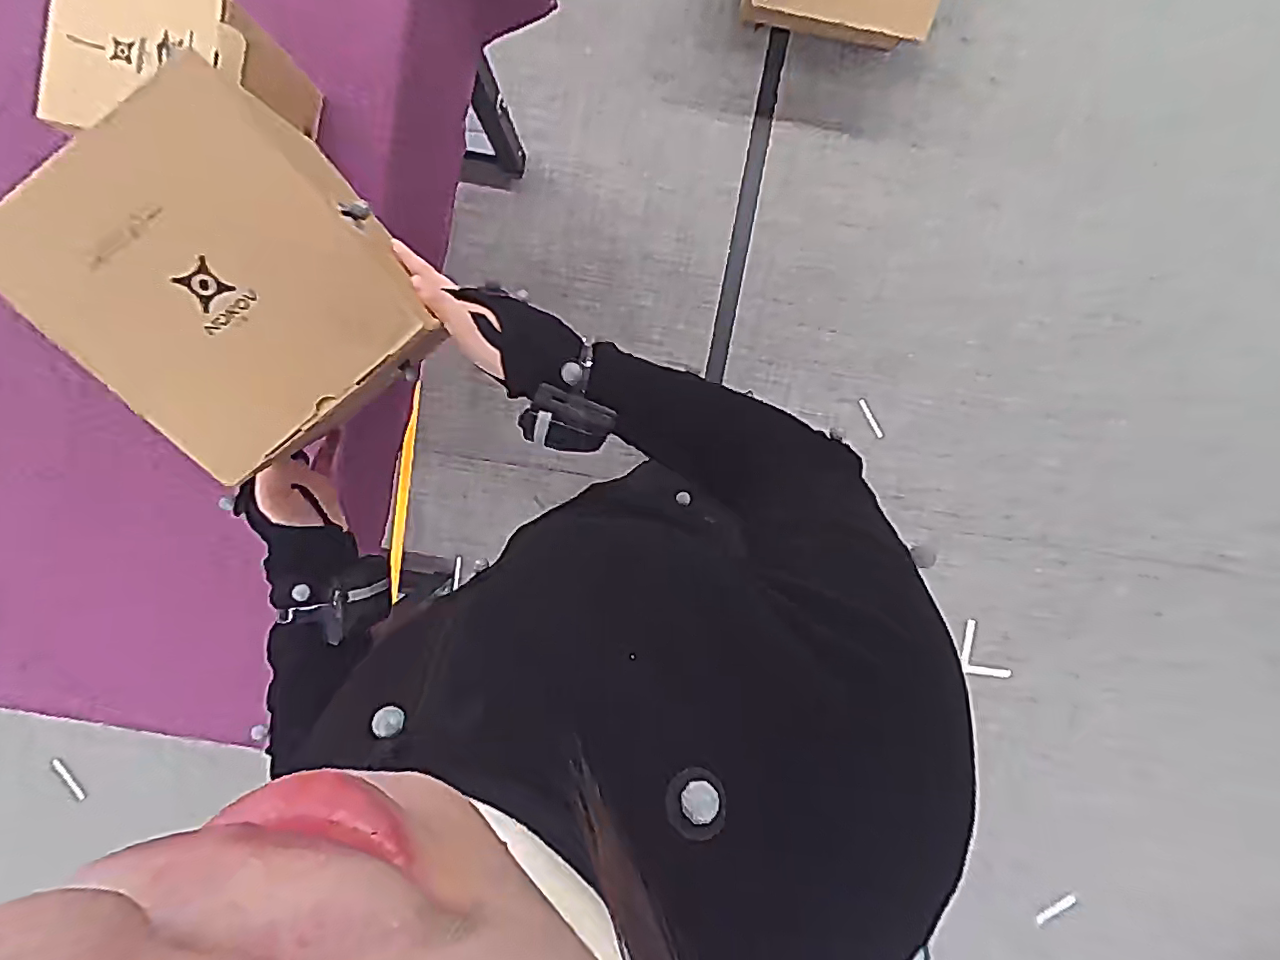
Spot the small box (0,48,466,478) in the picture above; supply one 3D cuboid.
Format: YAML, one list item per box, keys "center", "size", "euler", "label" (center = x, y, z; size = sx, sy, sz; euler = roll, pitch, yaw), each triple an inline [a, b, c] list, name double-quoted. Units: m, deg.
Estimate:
- center: [-0.247, -0.135, 0.382]
  size: [0.168, 0.176, 0.179]
  euler: [-37, 109, 2]
  label: "small box"

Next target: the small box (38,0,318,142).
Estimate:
- center: [-0.512, -0.436, 0.625]
  size: [0.179, 0.176, 0.168]
  euler: [13, 95, -1]
  label: "small box"
